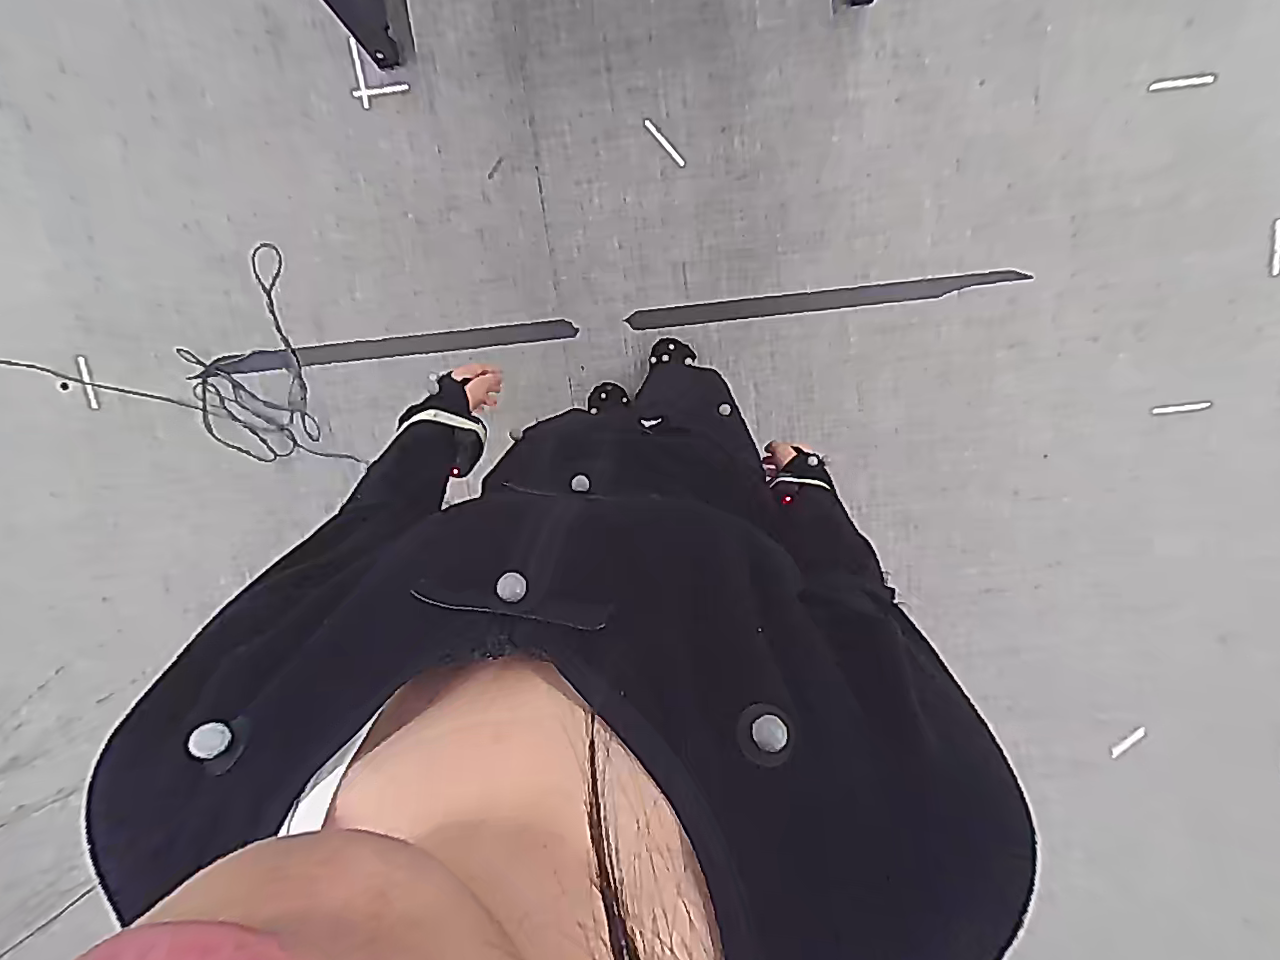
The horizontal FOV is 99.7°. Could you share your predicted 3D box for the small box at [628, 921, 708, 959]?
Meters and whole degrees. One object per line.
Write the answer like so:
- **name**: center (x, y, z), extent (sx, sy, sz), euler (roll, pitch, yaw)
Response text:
- **small box**: center (0.060, 1.060, 1.123), extent (0.168, 0.176, 0.179), euler (-2, 100, 0)
